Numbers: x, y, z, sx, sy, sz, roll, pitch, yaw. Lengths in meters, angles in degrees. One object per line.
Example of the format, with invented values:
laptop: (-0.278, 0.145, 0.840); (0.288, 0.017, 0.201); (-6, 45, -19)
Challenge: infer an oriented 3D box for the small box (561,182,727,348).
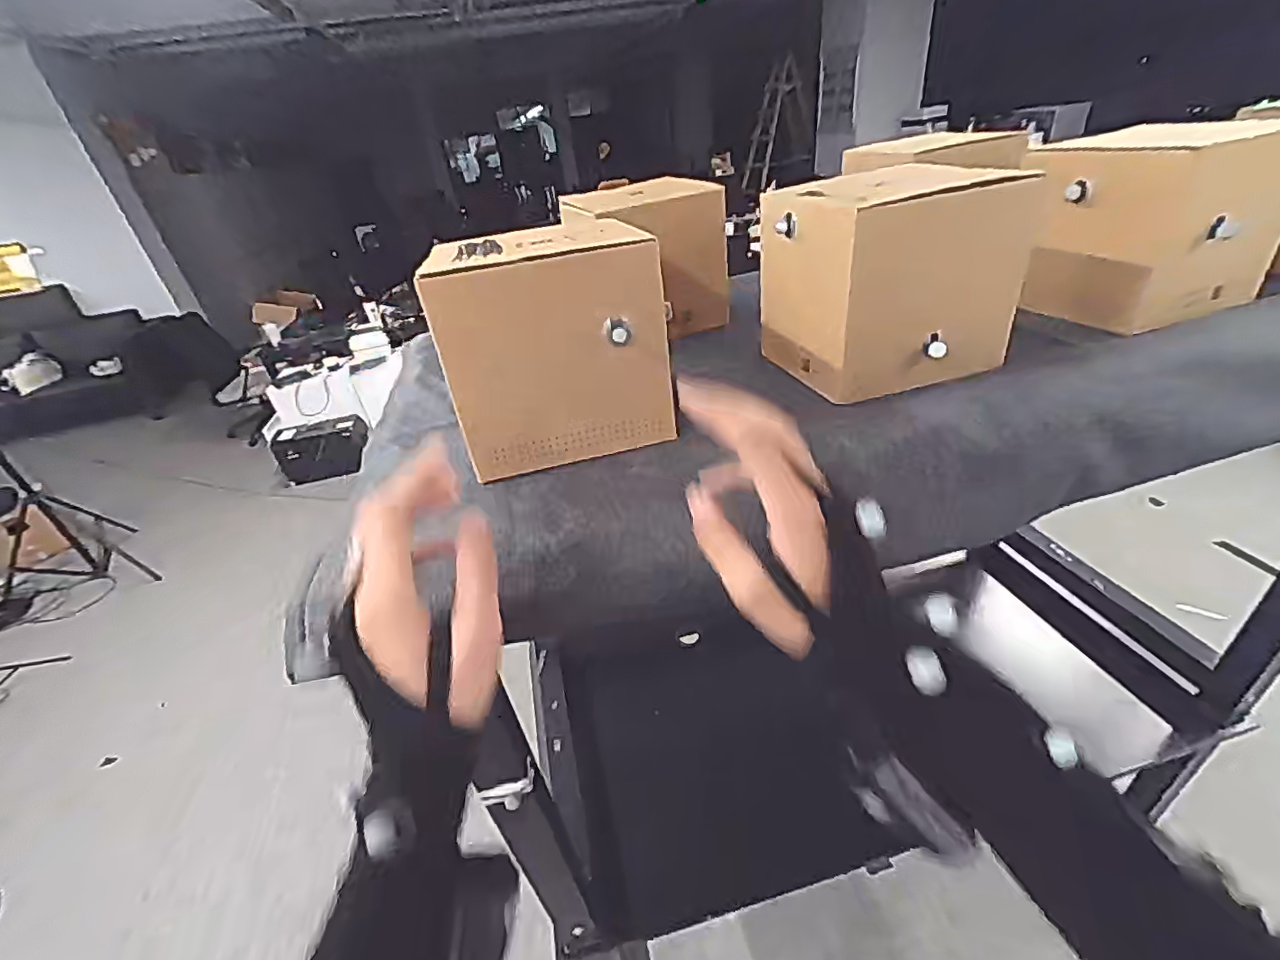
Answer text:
small box: (0.004, -0.292, 0.728); (0.168, 0.176, 0.179); (-18, 34, -13)

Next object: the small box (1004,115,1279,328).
small box: (0.526, -0.270, 0.573); (0.168, 0.176, 0.179); (-15, 33, -9)

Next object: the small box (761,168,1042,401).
small box: (0.229, -0.195, 0.527); (0.179, 0.176, 0.168); (-14, 33, -9)

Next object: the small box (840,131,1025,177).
small box: (0.415, -0.405, 0.804); (0.179, 0.176, 0.168); (-14, 34, -7)
